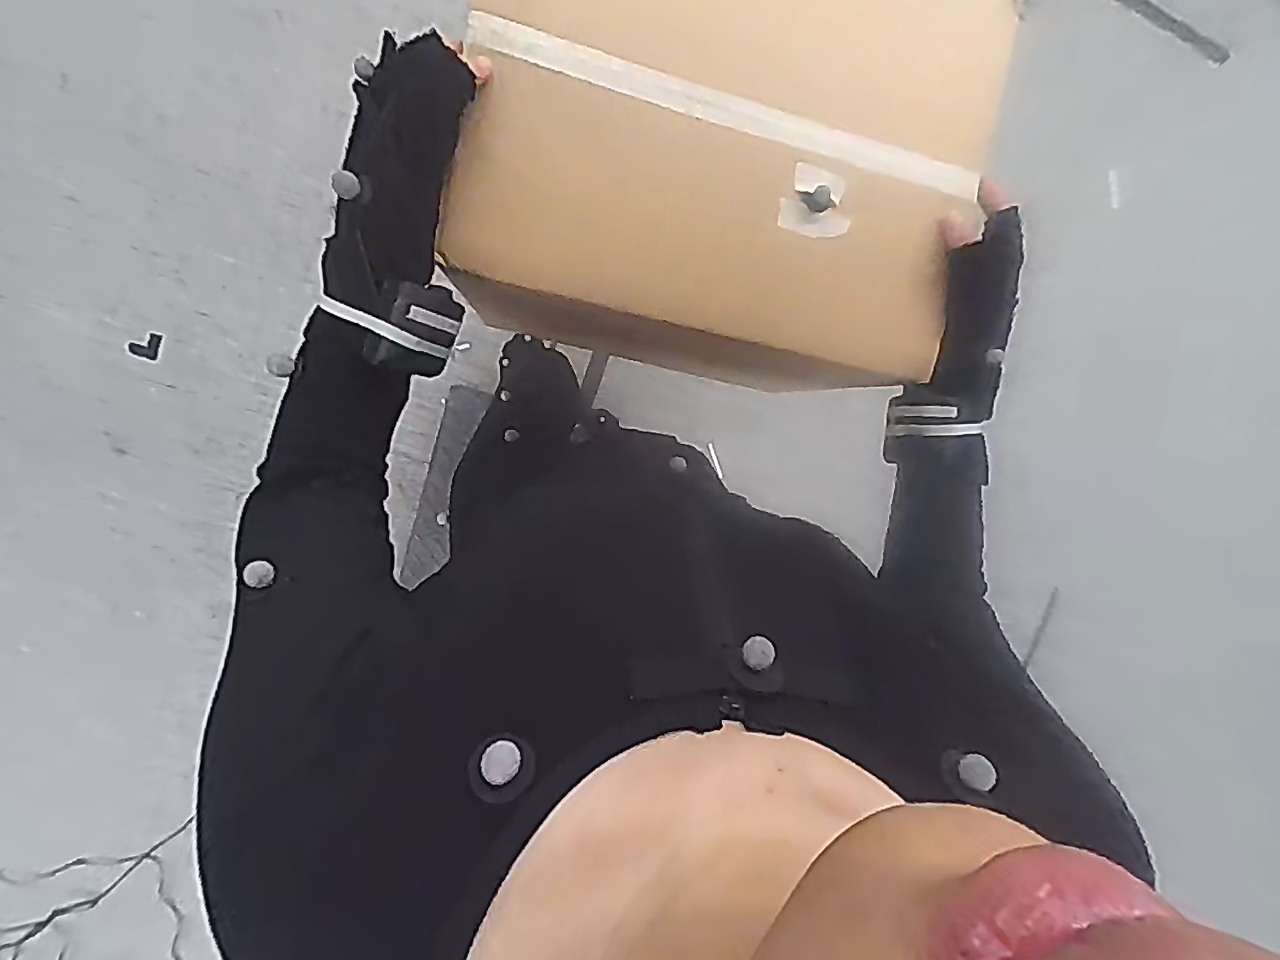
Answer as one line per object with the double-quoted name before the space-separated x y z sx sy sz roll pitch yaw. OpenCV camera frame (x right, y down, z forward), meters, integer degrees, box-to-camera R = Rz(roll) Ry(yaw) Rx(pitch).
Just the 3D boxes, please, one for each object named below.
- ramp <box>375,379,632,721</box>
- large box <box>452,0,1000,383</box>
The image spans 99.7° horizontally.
"ramp" -0.411 0.256 1.560 0.509 0.206 0.991 16 96 -12
"large box" 0.051 -0.296 0.564 0.408 0.320 0.320 10 96 -11
